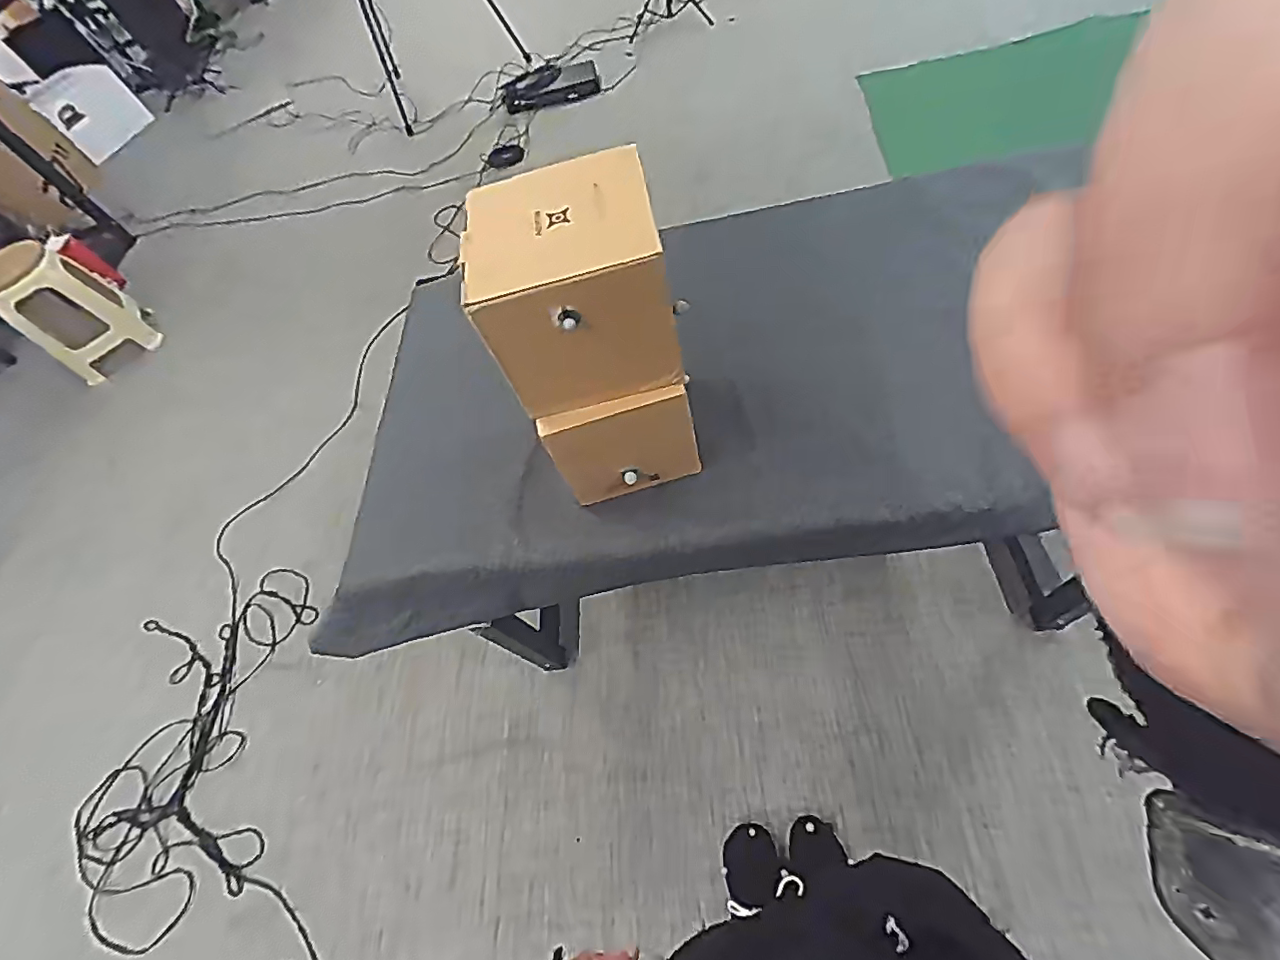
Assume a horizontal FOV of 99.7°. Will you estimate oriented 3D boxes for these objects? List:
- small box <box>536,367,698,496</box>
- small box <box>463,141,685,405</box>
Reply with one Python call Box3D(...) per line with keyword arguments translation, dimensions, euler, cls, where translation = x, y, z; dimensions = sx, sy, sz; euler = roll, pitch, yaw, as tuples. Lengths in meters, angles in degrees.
Box3D(translation=(-0.032, -0.106, 0.684), dimensions=(0.168, 0.176, 0.179), euler=(-16, 59, 4), cls="small box")
Box3D(translation=(-0.060, -0.198, 0.553), dimensions=(0.179, 0.176, 0.168), euler=(-12, 60, 5), cls="small box")
